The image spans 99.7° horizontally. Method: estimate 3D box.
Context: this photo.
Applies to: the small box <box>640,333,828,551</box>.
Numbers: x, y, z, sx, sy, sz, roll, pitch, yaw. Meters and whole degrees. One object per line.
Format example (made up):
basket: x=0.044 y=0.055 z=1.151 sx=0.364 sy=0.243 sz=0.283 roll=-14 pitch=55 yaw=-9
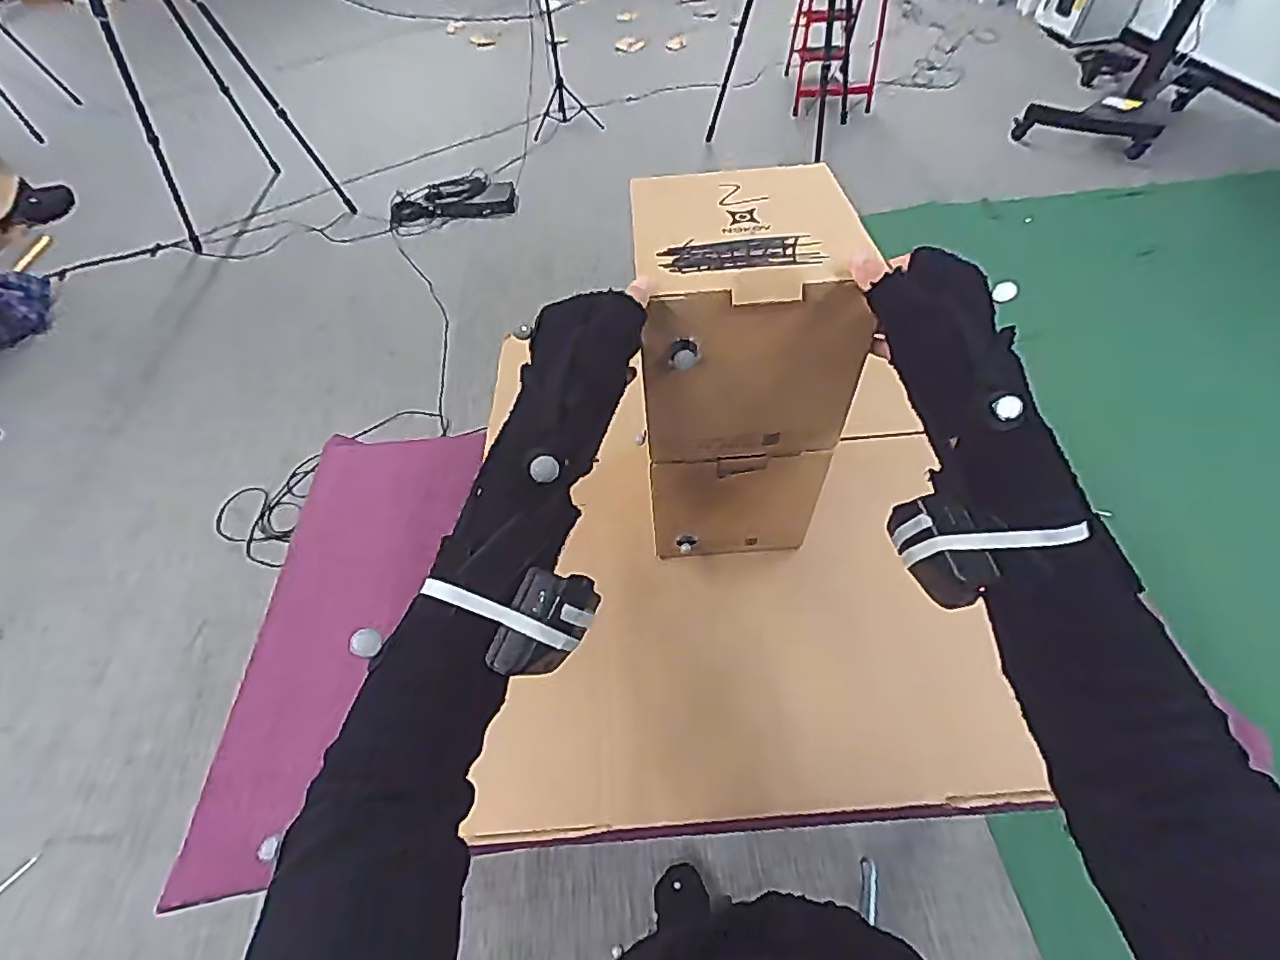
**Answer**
small box: x=0.090 y=-0.033 z=0.594 sx=0.168 sy=0.176 sz=0.179 roll=-5 pitch=52 yaw=1
